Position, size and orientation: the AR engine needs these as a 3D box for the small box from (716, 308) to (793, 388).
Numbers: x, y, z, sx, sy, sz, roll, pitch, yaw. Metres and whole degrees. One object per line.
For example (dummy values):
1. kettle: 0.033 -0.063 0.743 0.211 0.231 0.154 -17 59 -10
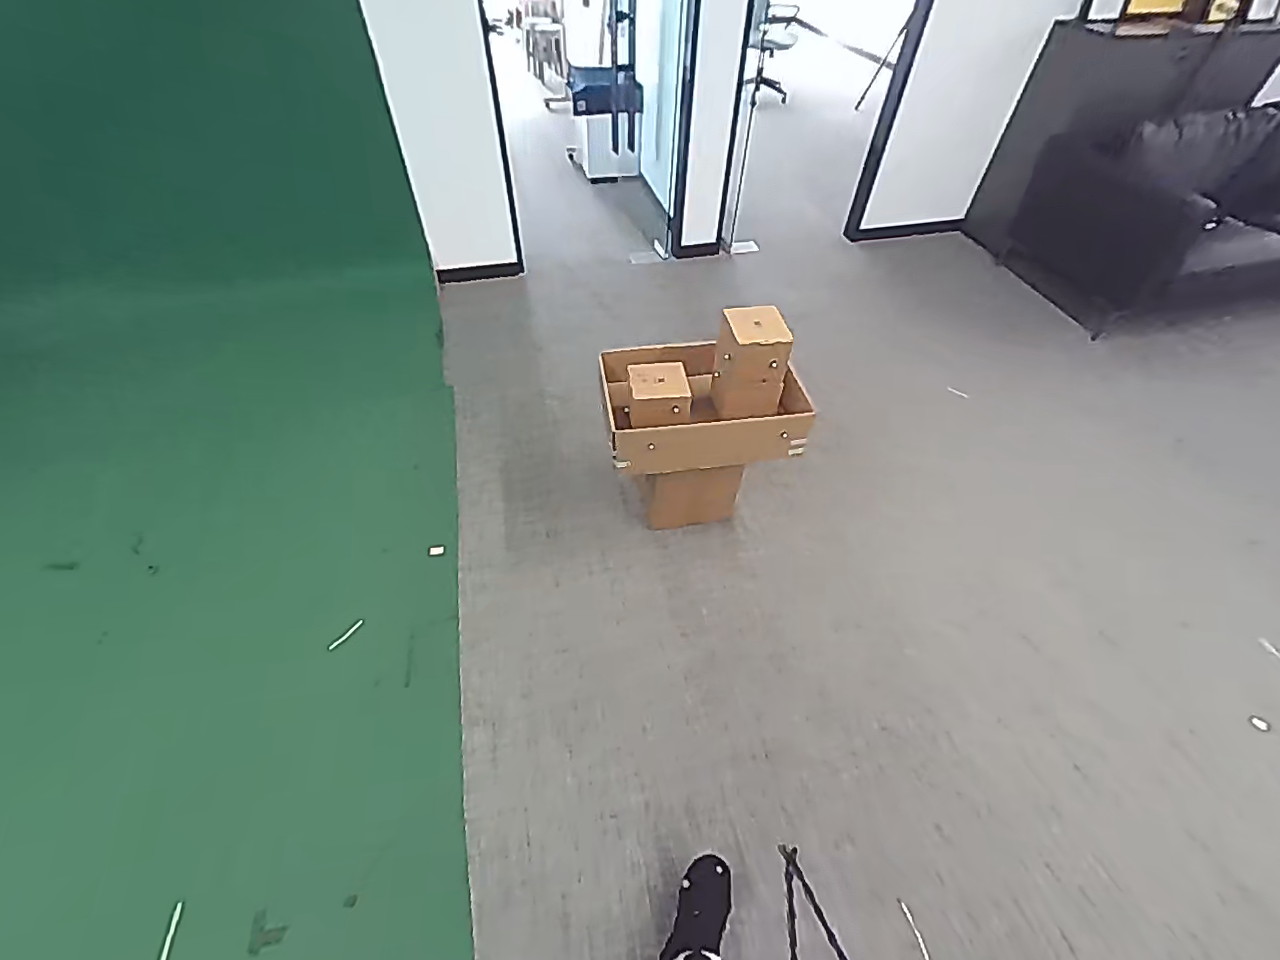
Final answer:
1. small box: 0.333 -0.386 1.606 0.168 0.176 0.179 -5 49 -7
